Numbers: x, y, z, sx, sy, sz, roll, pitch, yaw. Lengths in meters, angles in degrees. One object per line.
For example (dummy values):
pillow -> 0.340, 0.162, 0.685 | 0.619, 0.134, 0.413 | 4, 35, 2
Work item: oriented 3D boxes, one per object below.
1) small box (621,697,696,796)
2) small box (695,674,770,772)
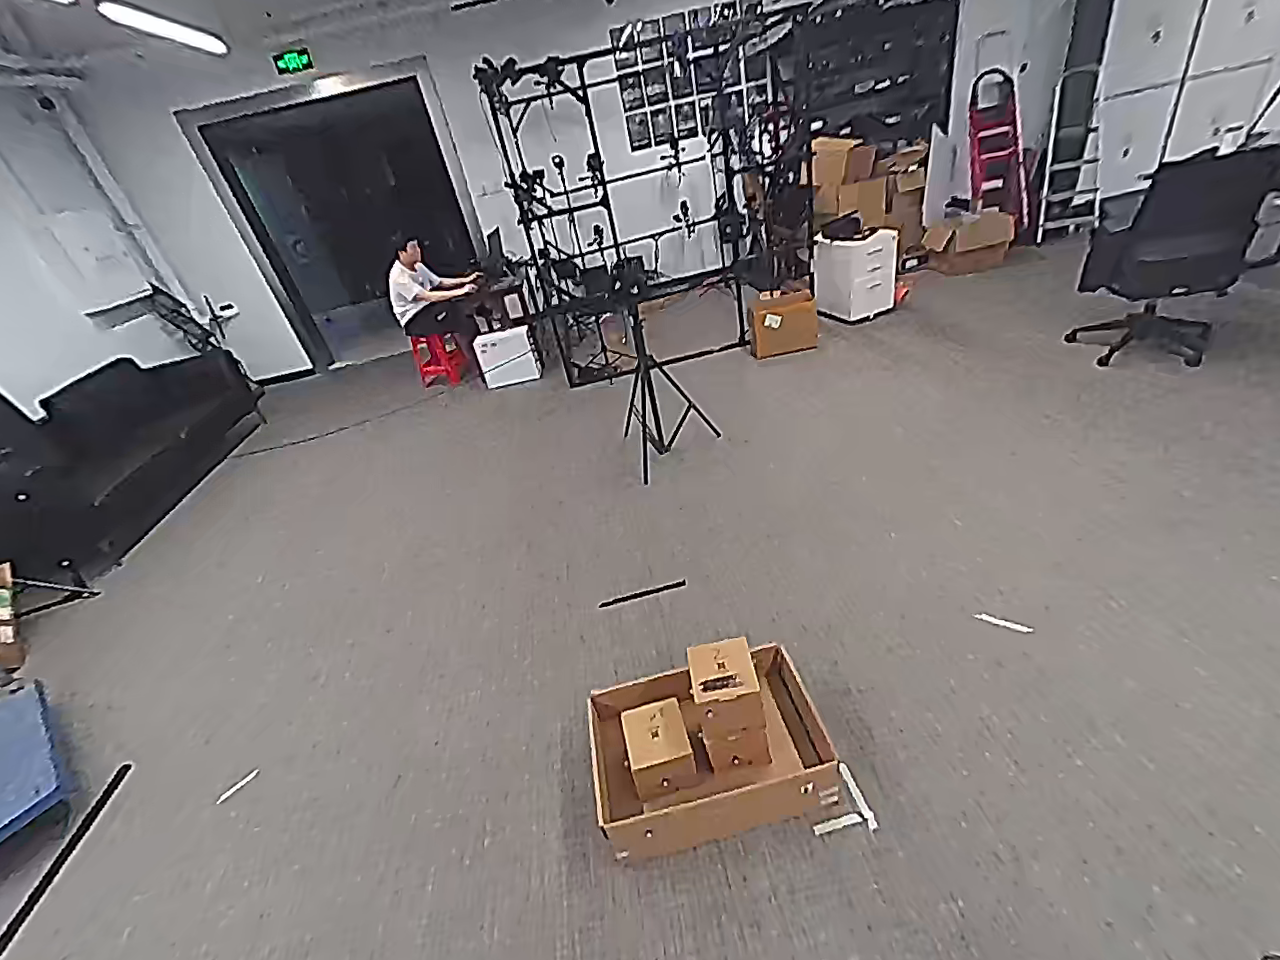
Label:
small box -> 0.053, 0.746, 1.503 | 0.168, 0.176, 0.179 | -13, 32, -5
small box -> 0.260, 0.687, 1.528 | 0.168, 0.176, 0.179 | -14, 33, 3
